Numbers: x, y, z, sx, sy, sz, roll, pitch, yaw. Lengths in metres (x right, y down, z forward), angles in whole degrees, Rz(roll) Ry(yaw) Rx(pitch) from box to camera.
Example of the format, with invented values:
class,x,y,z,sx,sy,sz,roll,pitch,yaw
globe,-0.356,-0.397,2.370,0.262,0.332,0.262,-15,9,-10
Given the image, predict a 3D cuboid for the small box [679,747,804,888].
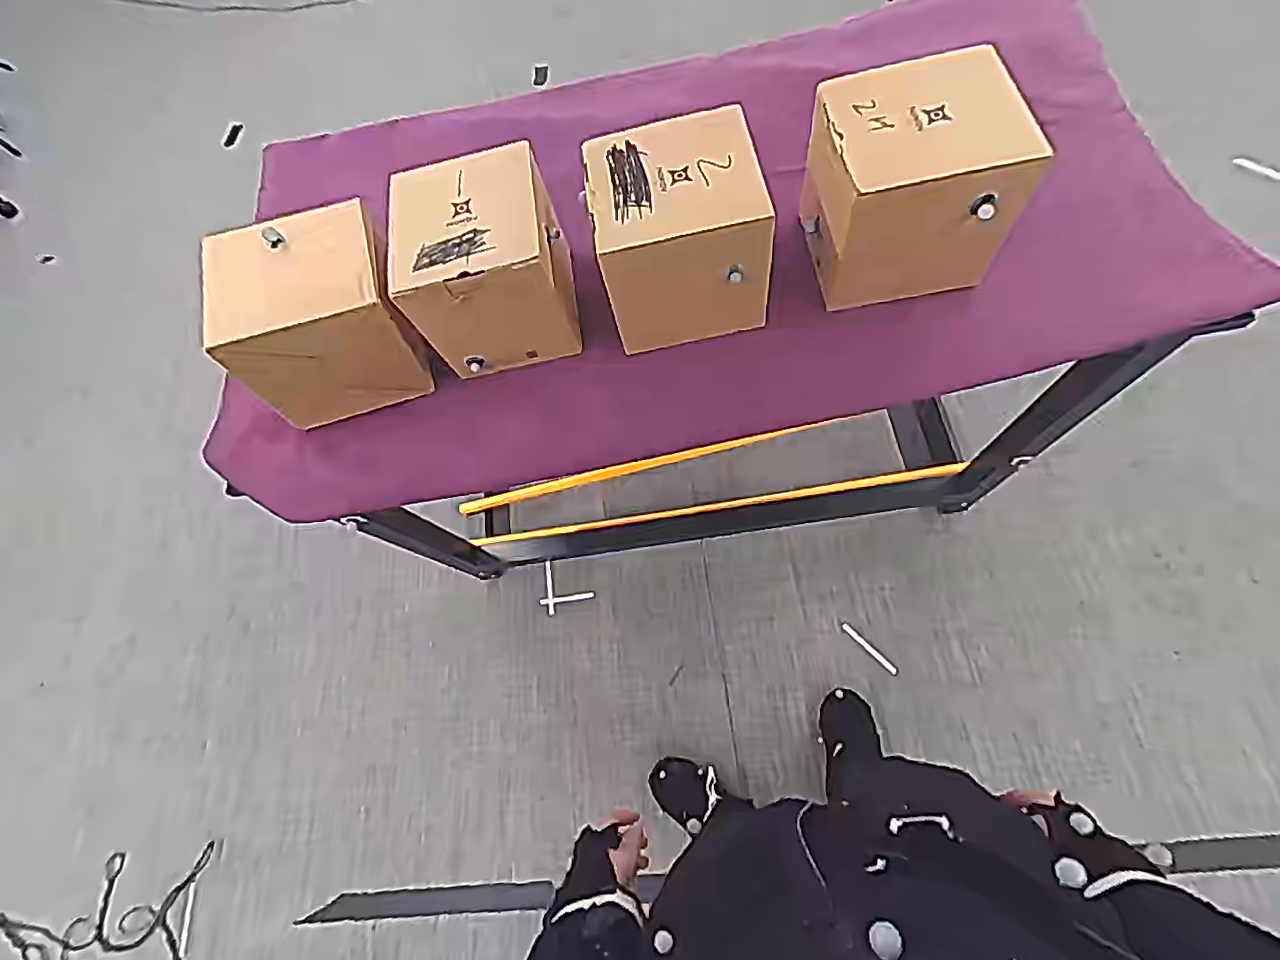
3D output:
class,x,y,z,sx,sy,sz,roll,pitch,yaw
small box,0.189,0.637,1.034,0.168,0.176,0.179,38,74,23
